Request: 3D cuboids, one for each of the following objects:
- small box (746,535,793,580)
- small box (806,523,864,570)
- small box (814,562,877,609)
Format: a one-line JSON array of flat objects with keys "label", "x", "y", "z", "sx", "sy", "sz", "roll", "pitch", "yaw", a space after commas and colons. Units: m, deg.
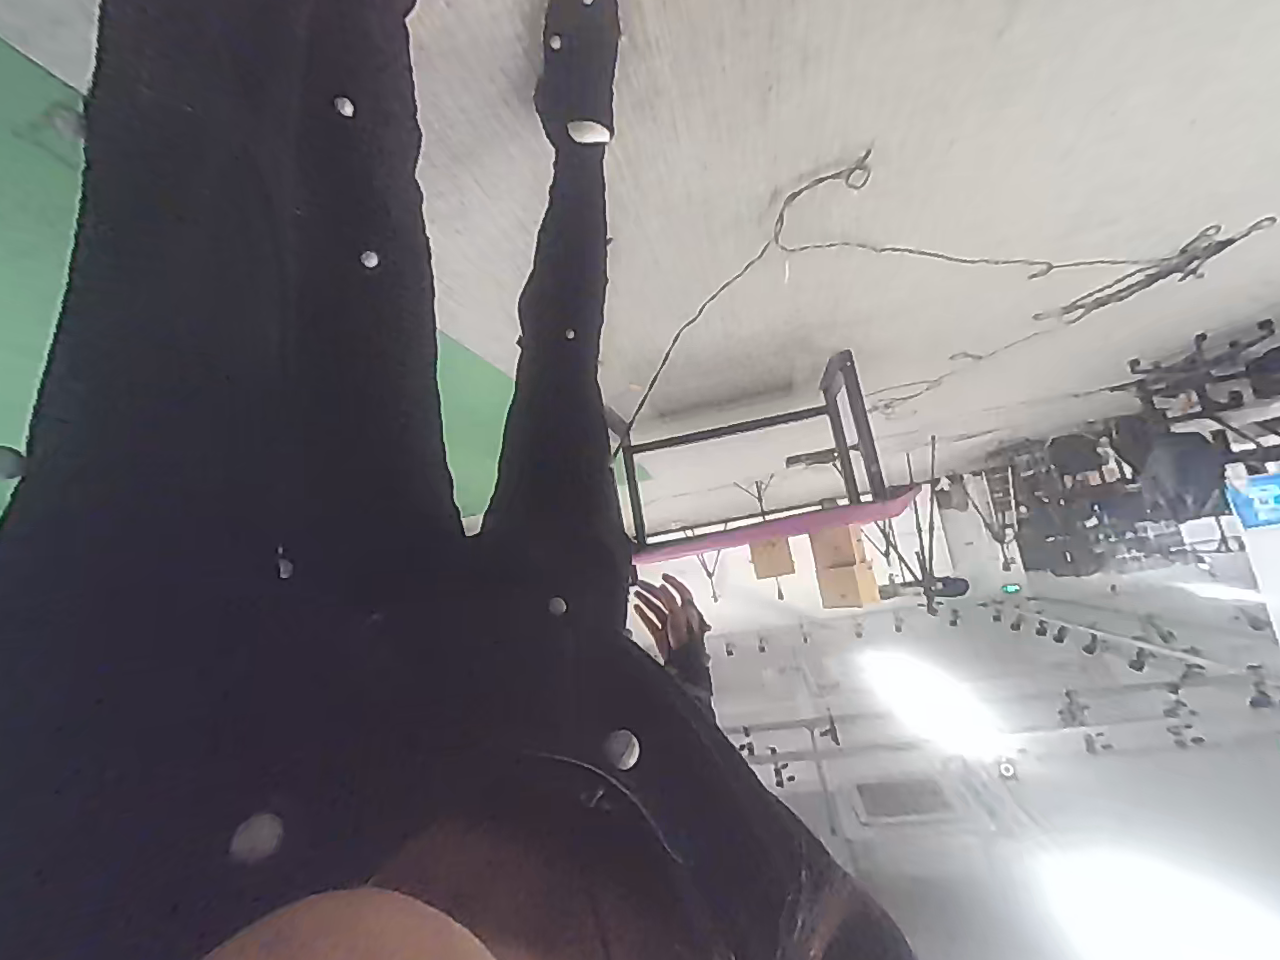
[{"label": "small box", "x": 0.559, "y": 0.333, "z": 2.350, "sx": 0.168, "sy": 0.176, "sz": 0.179, "roll": -12, "pitch": 171, "yaw": 8}, {"label": "small box", "x": 0.832, "y": 0.279, "z": 2.306, "sx": 0.179, "sy": 0.176, "sz": 0.168, "roll": -16, "pitch": 169, "yaw": 34}, {"label": "small box", "x": 0.858, "y": 0.438, "z": 2.264, "sx": 0.168, "sy": 0.176, "sz": 0.179, "roll": -1, "pitch": 169, "yaw": -43}]
